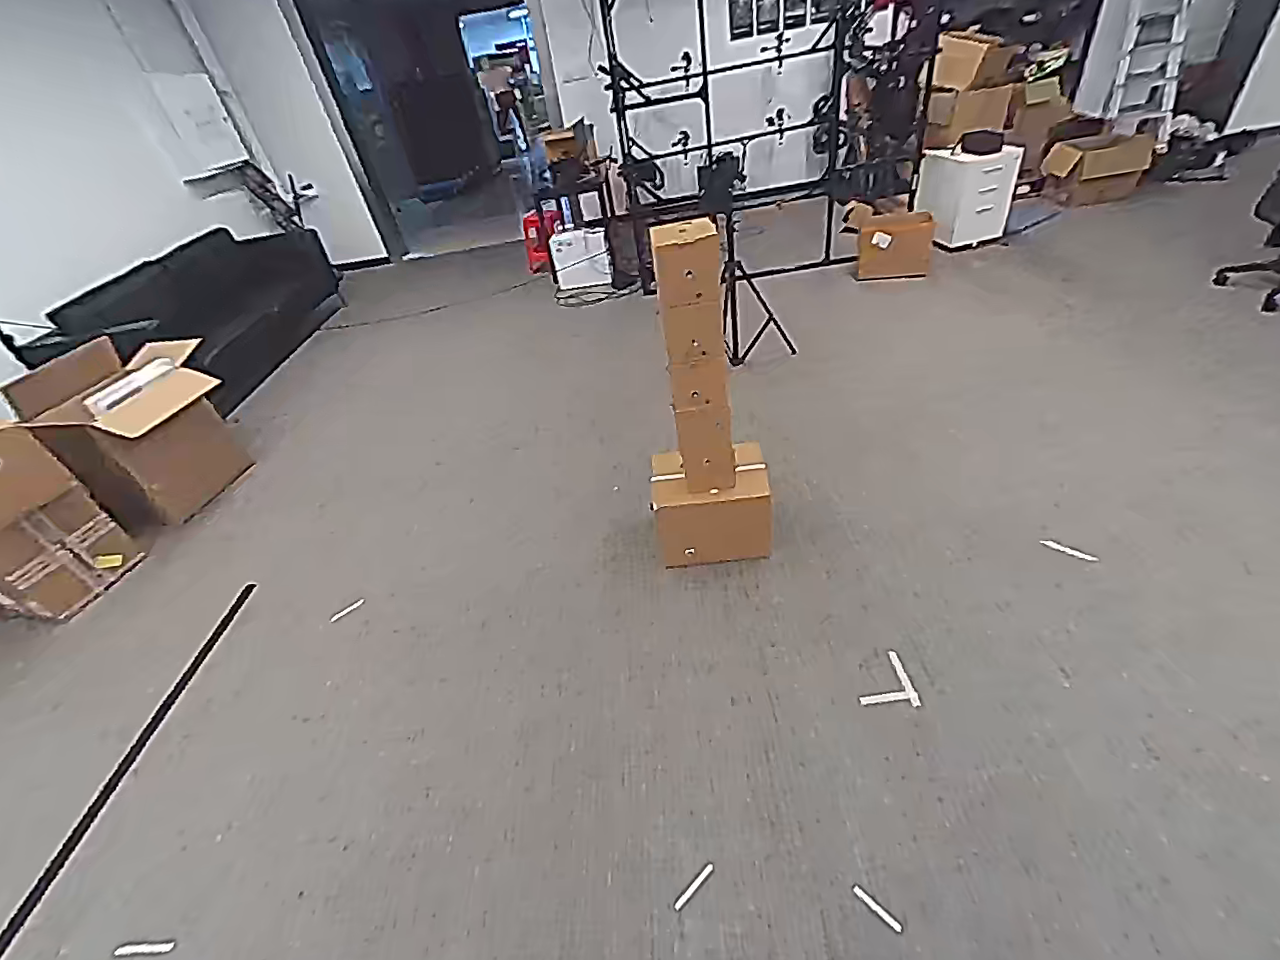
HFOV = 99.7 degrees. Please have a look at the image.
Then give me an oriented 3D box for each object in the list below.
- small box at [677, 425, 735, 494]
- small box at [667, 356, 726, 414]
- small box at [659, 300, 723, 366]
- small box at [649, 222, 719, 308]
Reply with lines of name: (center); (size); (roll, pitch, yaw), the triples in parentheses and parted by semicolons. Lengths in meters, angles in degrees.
small box: (0.229, -0.068, 1.872); (0.179, 0.176, 0.168); (-7, 39, 3)
small box: (0.171, -0.325, 1.678); (0.168, 0.176, 0.179); (-8, 39, 4)
small box: (0.146, -0.453, 1.578); (0.168, 0.176, 0.179); (-9, 40, 4)
small box: (0.121, -0.582, 1.480); (0.168, 0.176, 0.179); (-9, 40, 3)
